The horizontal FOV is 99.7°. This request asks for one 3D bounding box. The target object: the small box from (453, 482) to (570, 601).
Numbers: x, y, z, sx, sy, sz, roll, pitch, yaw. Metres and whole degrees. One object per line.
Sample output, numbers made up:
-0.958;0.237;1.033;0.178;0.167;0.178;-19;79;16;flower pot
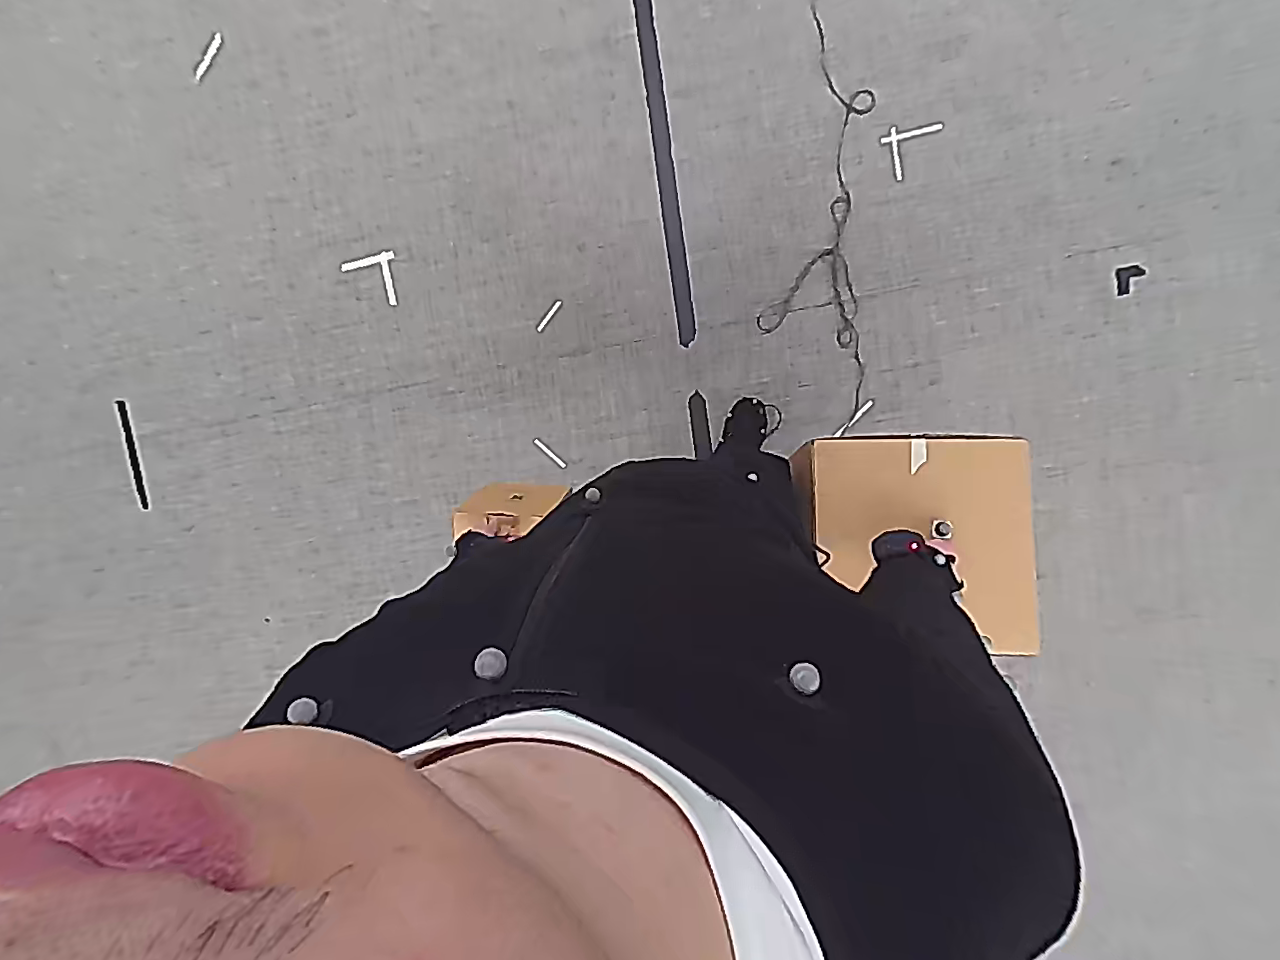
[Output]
-0.226;0.110;1.002;0.168;0.179;0.176;3;106;5;small box
